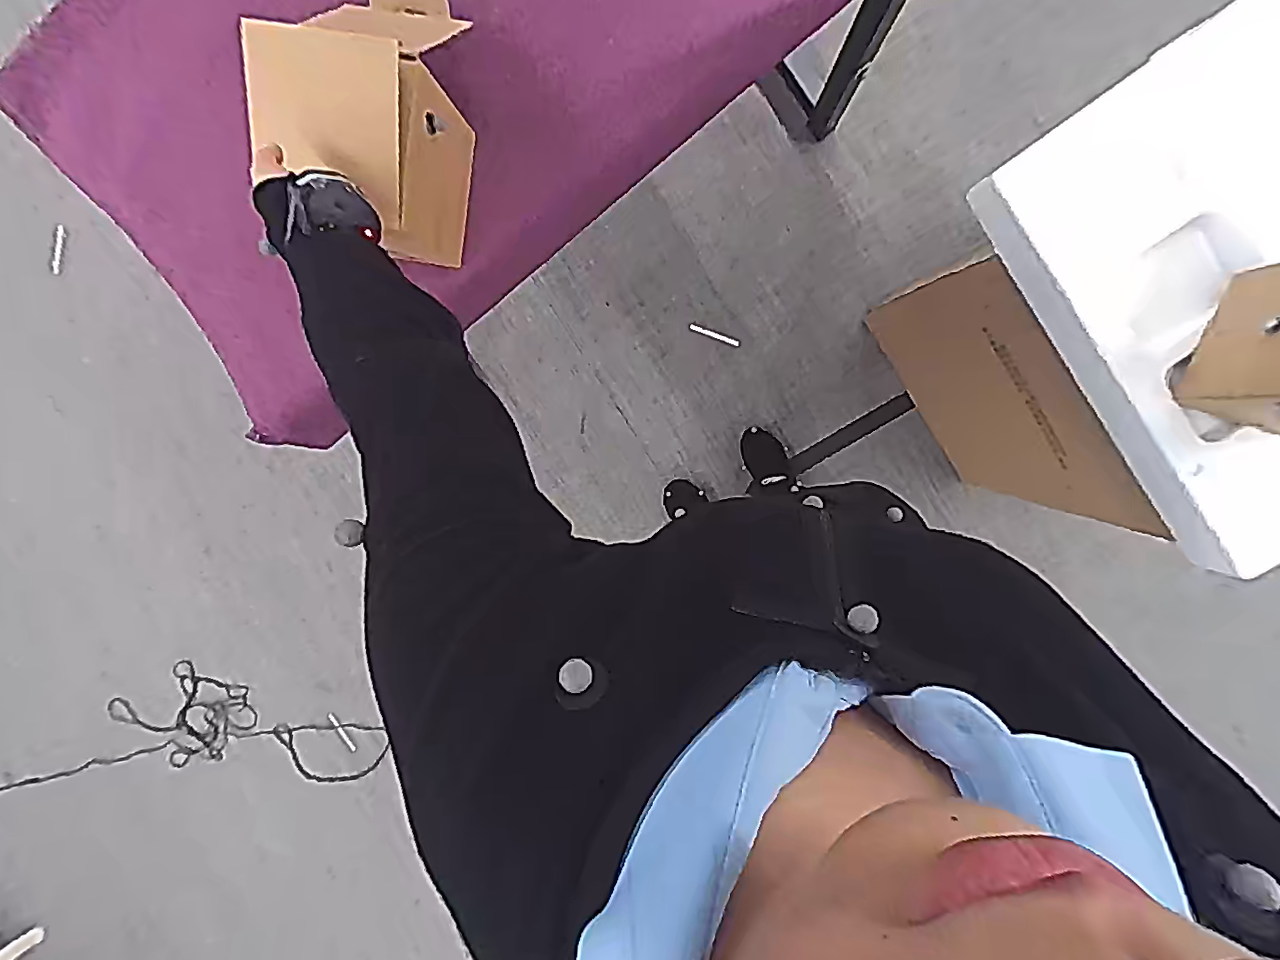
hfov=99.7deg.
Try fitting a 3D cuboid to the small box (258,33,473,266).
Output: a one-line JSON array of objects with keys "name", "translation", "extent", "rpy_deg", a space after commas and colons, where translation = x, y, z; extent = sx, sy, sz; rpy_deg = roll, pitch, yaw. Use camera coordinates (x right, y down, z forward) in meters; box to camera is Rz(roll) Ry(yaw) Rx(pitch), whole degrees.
[{"name": "small box", "translation": [-0.317, -0.381, 0.655], "extent": [0.168, 0.176, 0.179], "rpy_deg": [10, 98, 3]}]
